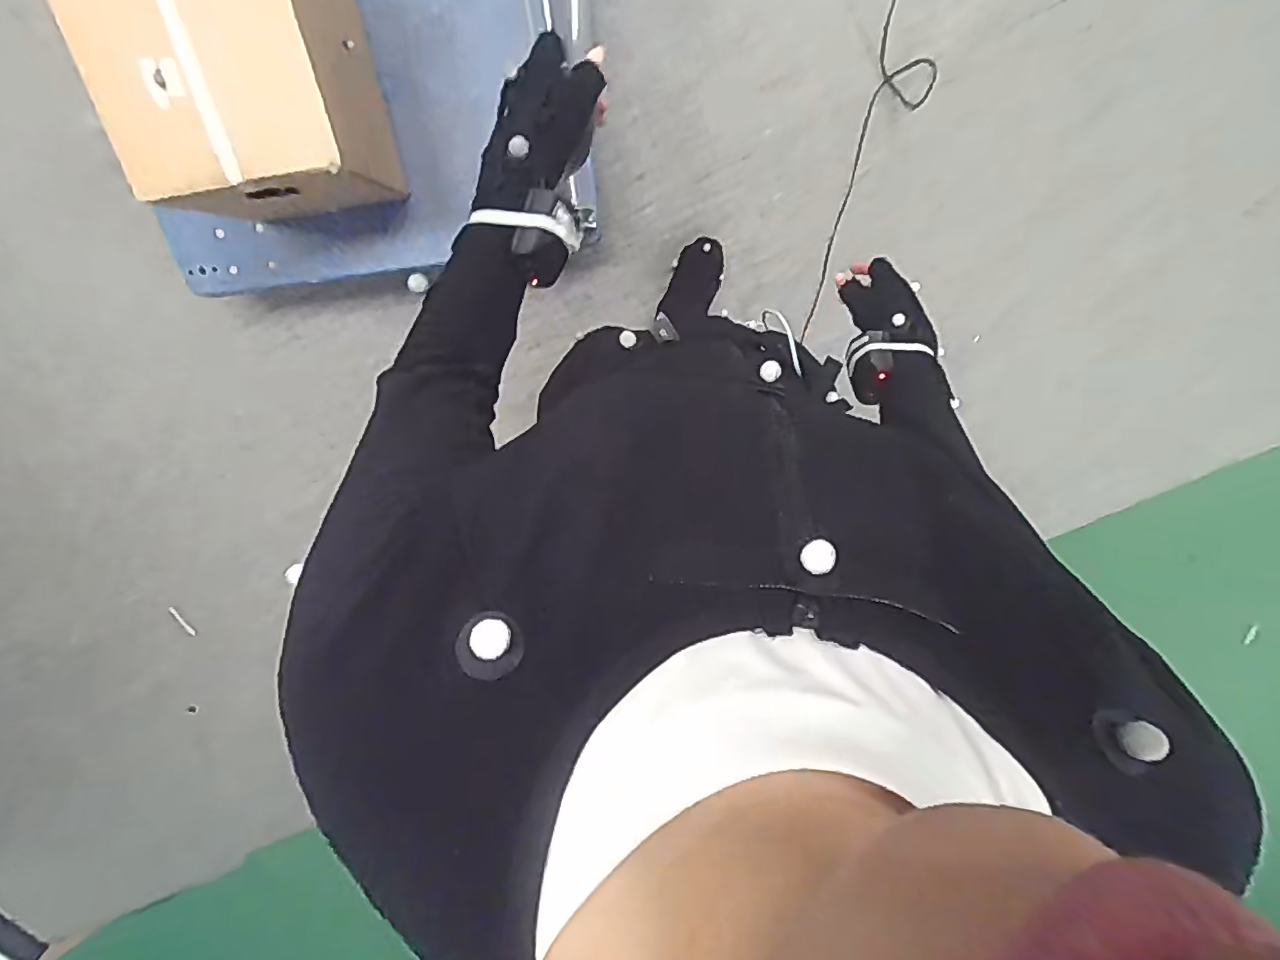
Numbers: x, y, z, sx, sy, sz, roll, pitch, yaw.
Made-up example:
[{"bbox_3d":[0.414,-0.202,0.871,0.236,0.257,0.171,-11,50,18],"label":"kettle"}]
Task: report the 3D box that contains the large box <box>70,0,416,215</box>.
[{"bbox_3d":[-0.616,-0.685,0.874,0.320,0.320,0.408,-10,112,0],"label":"large box"}]
